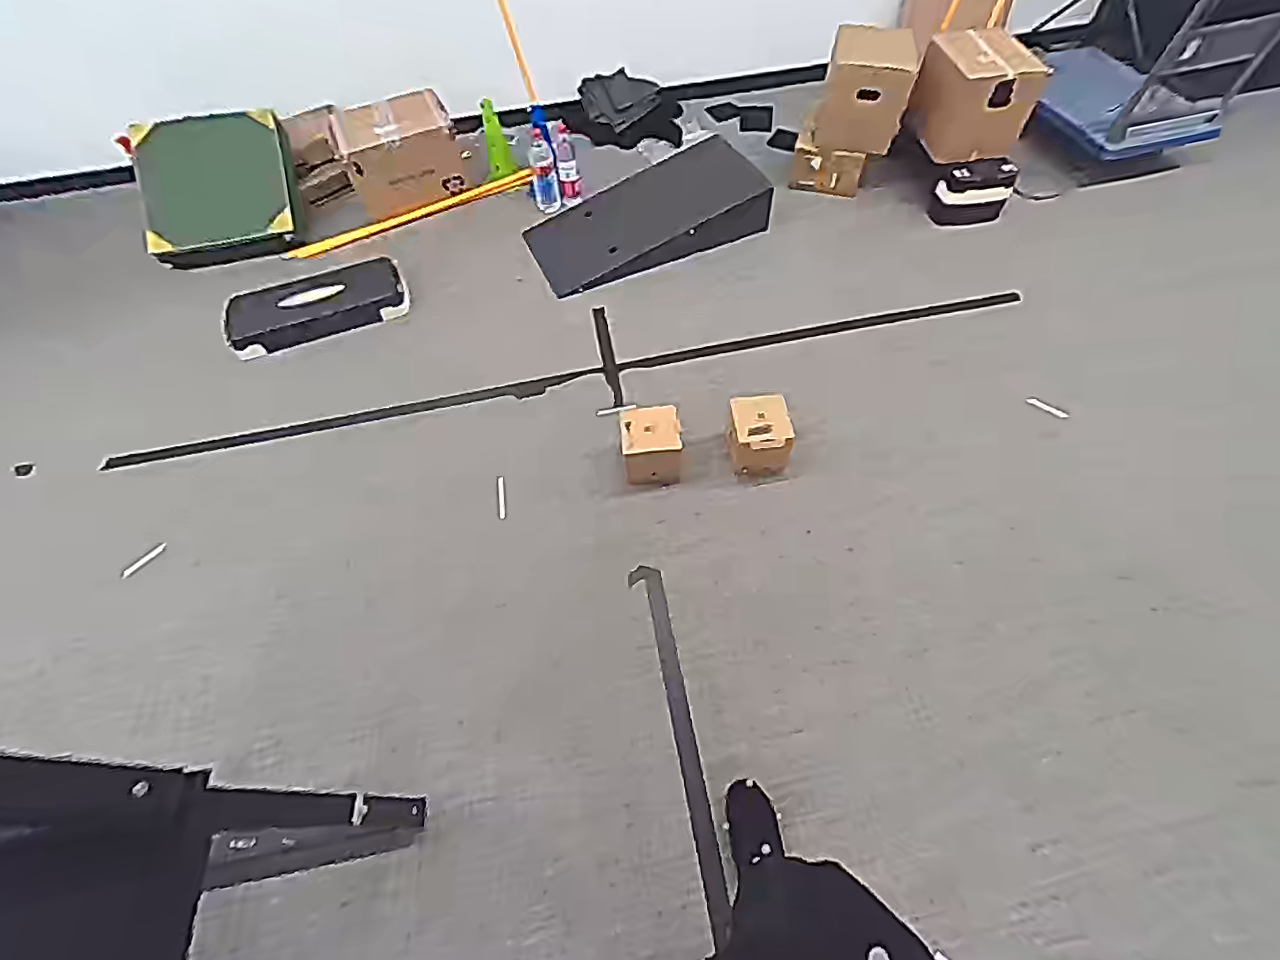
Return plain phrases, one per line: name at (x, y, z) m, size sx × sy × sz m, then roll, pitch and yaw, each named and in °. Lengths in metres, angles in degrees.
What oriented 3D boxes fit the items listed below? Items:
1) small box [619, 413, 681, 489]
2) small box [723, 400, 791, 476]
small box at (0.027, -0.088, 1.673) m, size 0.179 × 0.176 × 0.168 m, roll -5°, pitch 57°, yaw -1°
small box at (0.358, -0.123, 1.680) m, size 0.168 × 0.176 × 0.179 m, roll -5°, pitch 56°, yaw -1°
